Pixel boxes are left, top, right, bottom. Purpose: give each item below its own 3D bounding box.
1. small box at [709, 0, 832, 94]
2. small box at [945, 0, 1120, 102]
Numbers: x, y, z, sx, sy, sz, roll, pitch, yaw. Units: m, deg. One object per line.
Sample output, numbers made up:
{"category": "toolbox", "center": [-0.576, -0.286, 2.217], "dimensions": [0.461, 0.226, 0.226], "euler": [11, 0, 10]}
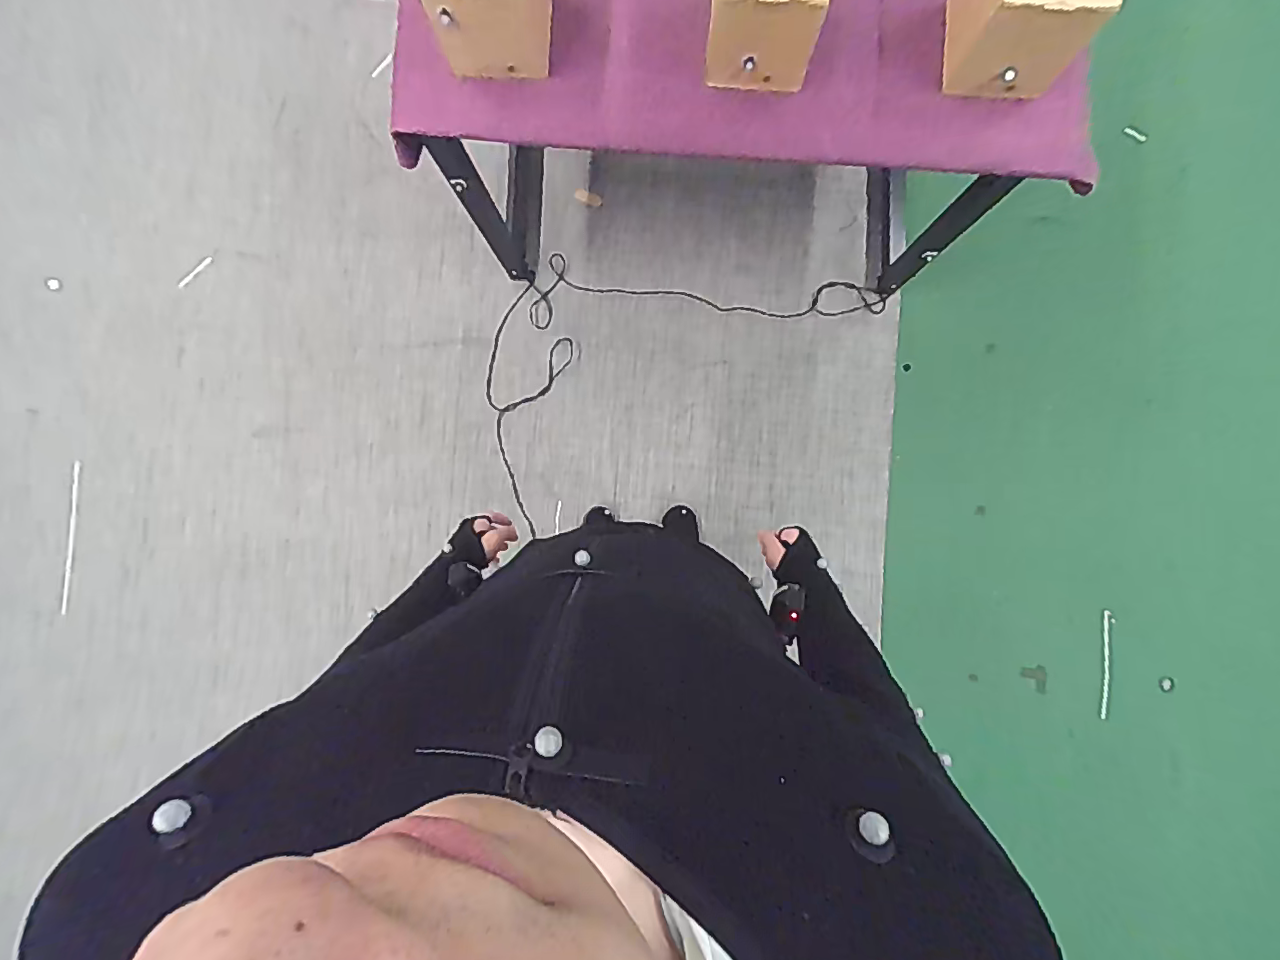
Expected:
{"category": "small box", "center": [0.205, -0.771, 0.867], "dimensions": [0.168, 0.176, 0.179], "euler": [5, 87, 1]}
{"category": "small box", "center": [0.608, -0.746, 0.852], "dimensions": [0.168, 0.176, 0.179], "euler": [6, 87, 3]}
